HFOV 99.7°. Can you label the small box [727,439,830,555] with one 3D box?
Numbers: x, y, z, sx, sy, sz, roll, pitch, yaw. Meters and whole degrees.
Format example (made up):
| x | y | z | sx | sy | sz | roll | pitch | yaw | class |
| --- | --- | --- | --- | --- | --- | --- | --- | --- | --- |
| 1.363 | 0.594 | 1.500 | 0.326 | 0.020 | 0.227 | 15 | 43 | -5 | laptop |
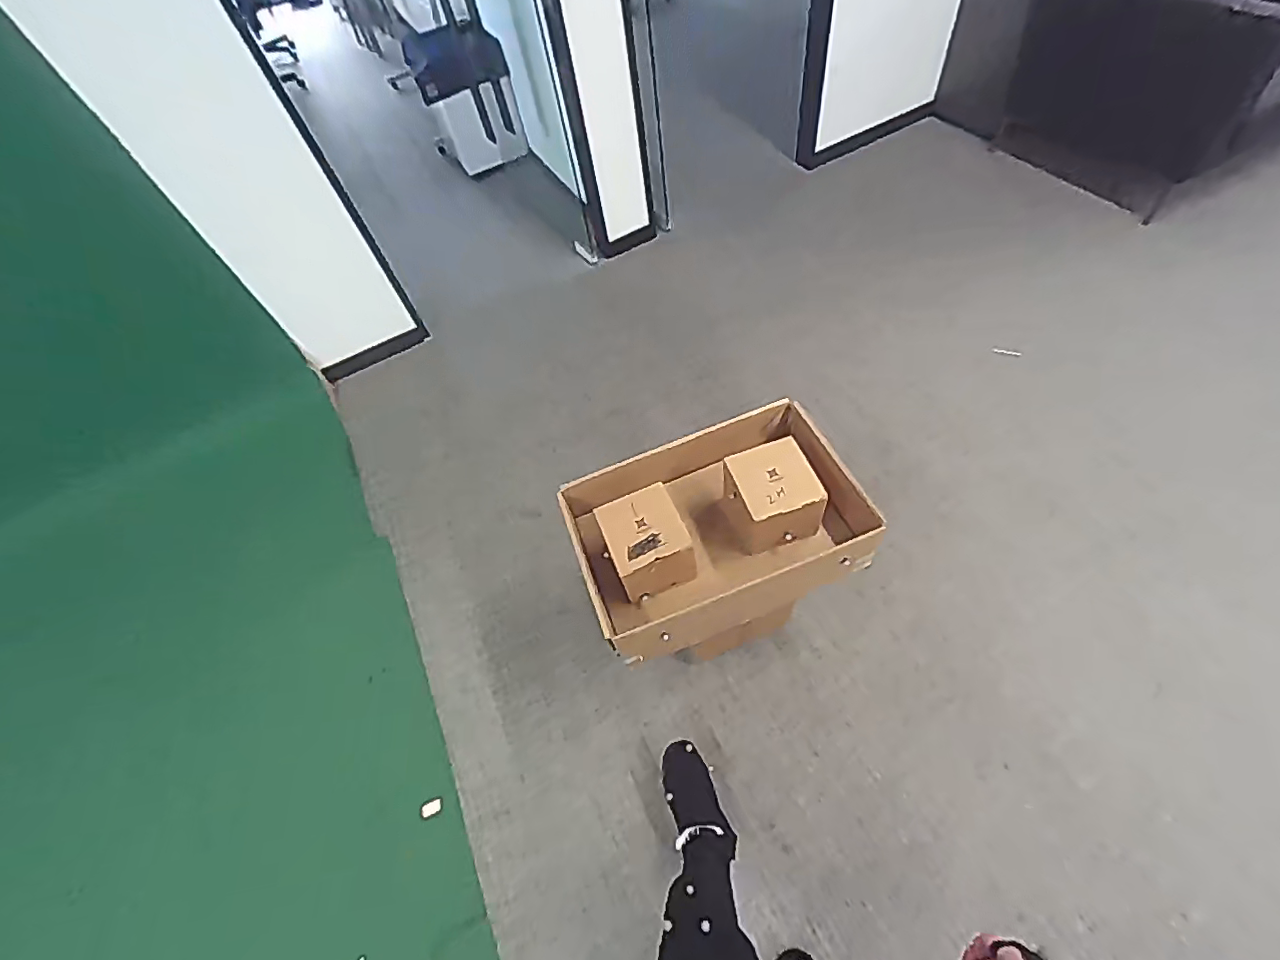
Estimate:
| x | y | z | sx | sy | sz | roll | pitch | yaw | class |
| --- | --- | --- | --- | --- | --- | --- | --- | --- | --- |
| 0.301 | 0.041 | 1.215 | 0.168 | 0.176 | 0.179 | -18 | 56 | -3 | small box |
